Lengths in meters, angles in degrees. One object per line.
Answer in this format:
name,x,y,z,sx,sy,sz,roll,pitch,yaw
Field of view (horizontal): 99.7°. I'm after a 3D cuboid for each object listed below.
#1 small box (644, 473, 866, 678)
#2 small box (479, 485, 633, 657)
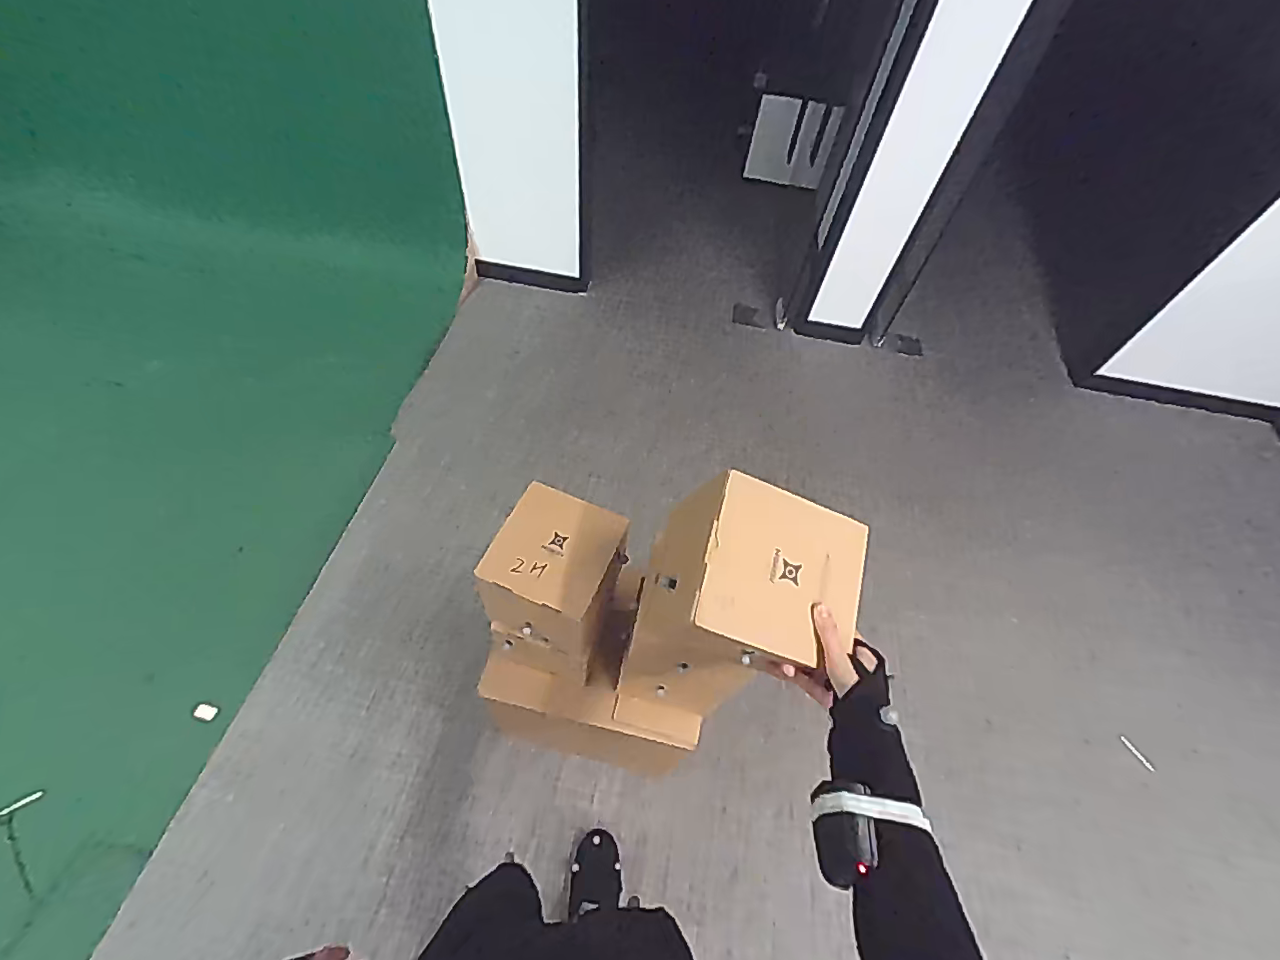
small box,0.122,0.117,0.619,0.179,0.176,0.168,22,68,-11
small box,-0.125,0.145,0.842,0.168,0.176,0.179,21,56,8
